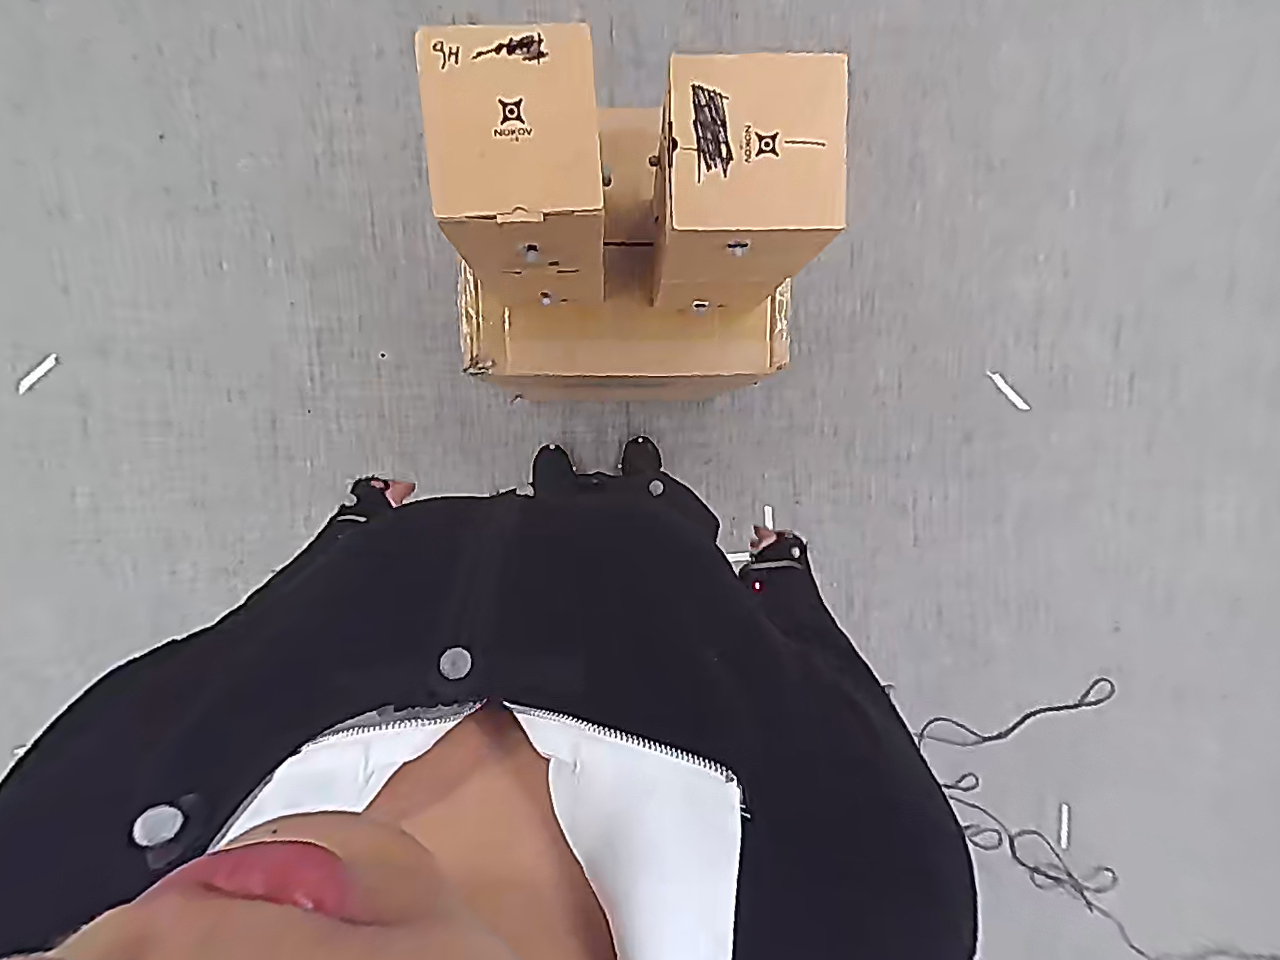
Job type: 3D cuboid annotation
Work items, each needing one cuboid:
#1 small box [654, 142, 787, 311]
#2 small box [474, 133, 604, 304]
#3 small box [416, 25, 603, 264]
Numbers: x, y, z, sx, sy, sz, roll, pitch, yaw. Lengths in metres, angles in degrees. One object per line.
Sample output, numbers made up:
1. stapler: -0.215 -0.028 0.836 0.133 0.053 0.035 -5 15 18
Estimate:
1. small box: 0.106 -0.350 0.775 0.168 0.176 0.179 -1 96 0
2. small box: -0.137 -0.358 0.761 0.168 0.176 0.179 -3 95 -3
3. small box: -0.128 -0.348 0.597 0.168 0.176 0.179 -4 95 -3
